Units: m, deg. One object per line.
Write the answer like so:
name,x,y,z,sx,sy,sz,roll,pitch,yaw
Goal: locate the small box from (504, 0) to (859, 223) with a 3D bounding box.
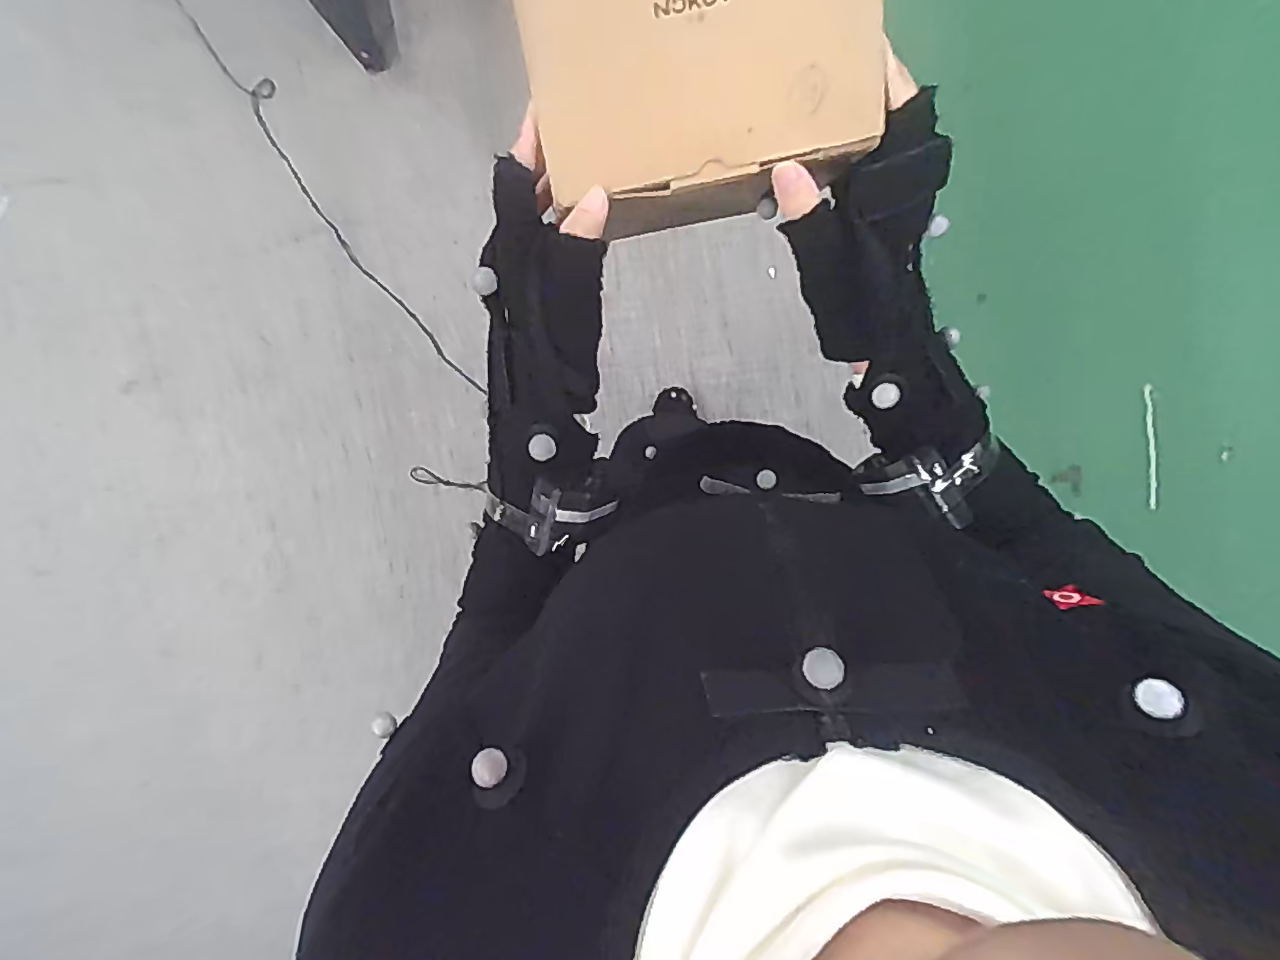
small box,0.022,-0.265,0.325,0.168,0.176,0.179,-8,107,7
